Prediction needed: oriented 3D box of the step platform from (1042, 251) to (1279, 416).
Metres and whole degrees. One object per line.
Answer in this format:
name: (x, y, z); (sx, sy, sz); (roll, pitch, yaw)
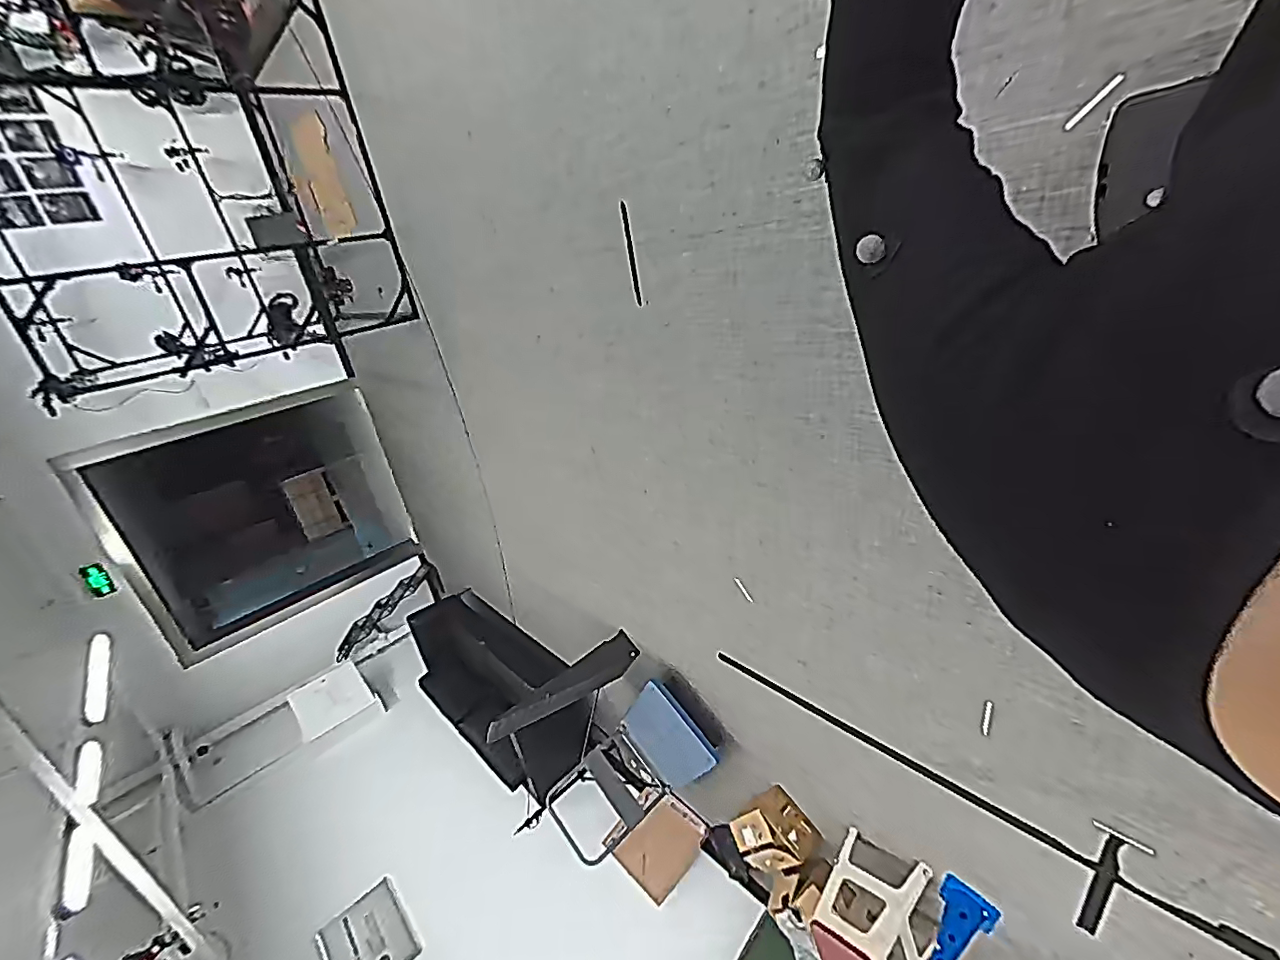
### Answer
step platform: (1.146, -0.273, 0.967); (0.684, 0.204, 0.286); (16, 124, 48)
